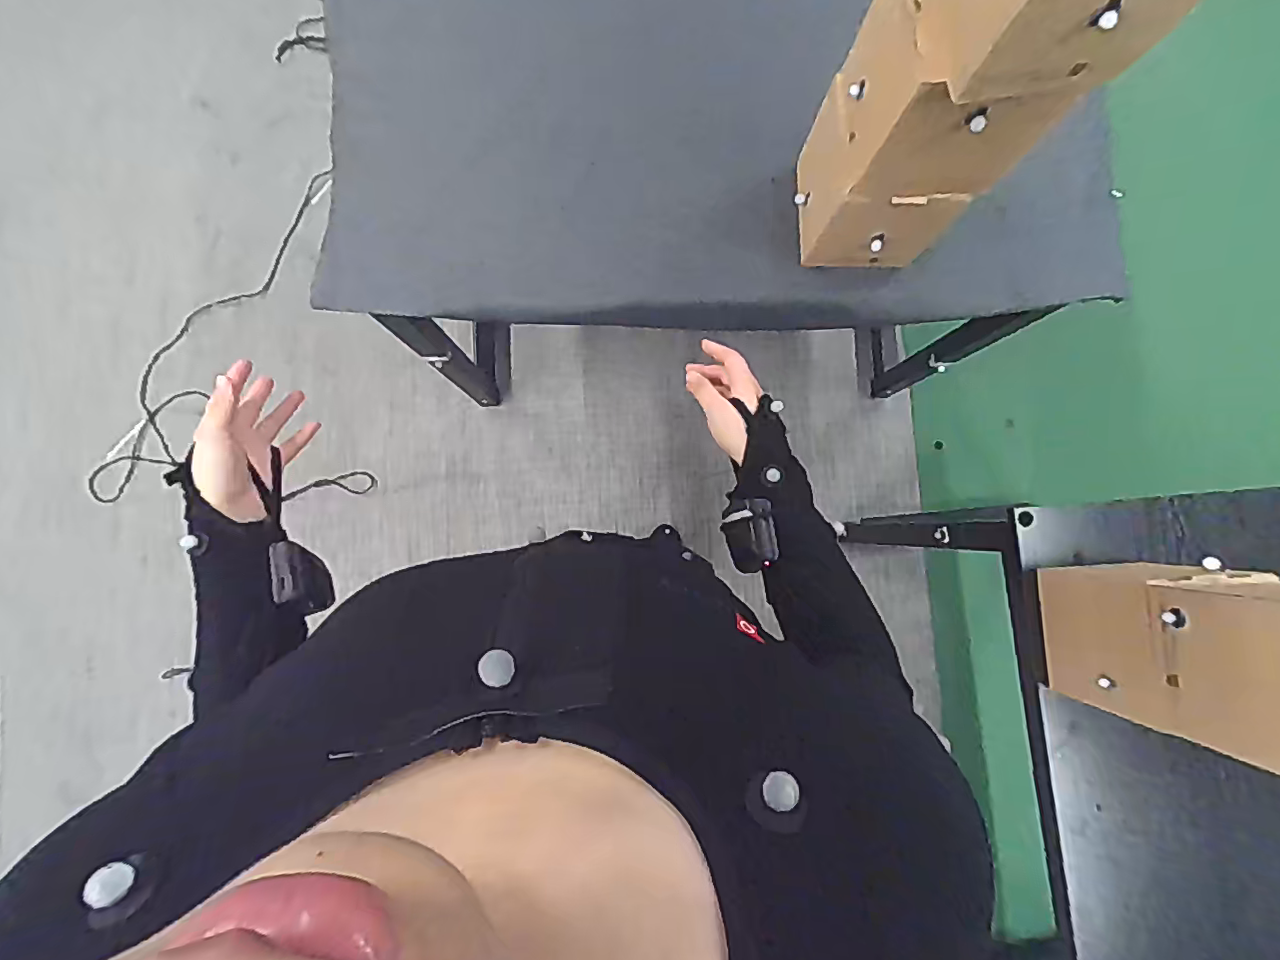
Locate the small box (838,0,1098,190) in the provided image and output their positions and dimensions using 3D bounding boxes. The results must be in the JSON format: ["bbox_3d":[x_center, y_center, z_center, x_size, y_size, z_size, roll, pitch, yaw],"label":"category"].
[{"bbox_3d":[0.336,-0.443,0.587,0.179,0.176,0.168,-2,84,0],"label":"small box"}]

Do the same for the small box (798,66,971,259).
[{"bbox_3d":[0.324,-0.425,0.749,0.168,0.176,0.179,0,84,0],"label":"small box"}]

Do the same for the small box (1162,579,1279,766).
[{"bbox_3d":[0.675,0.192,0.538,0.179,0.176,0.168,-1,86,-2],"label":"small box"}]

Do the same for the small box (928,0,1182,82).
[{"bbox_3d":[0.347,-0.452,0.422,0.168,0.176,0.179,-10,84,-2],"label":"small box"}]
